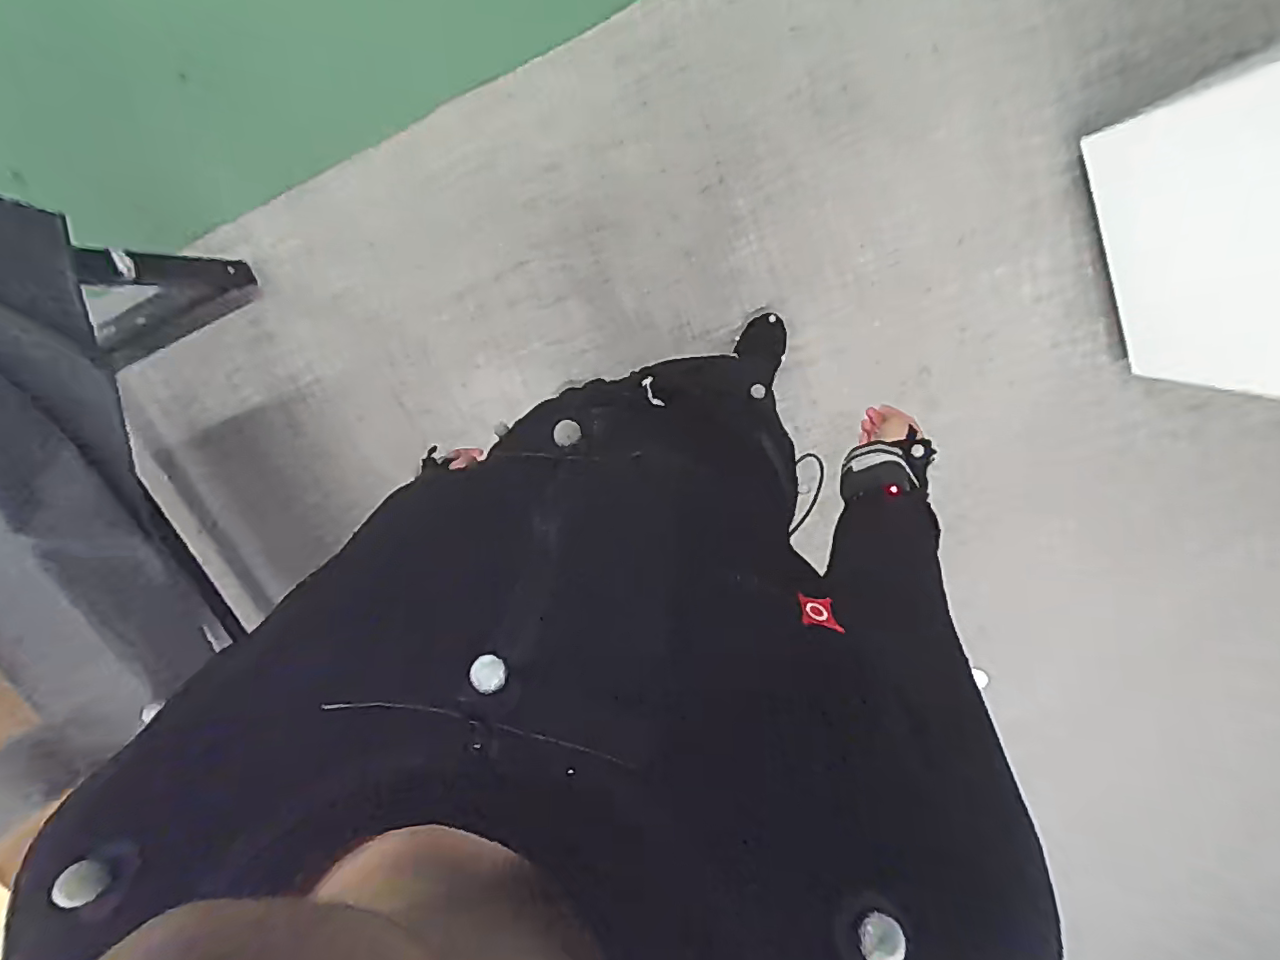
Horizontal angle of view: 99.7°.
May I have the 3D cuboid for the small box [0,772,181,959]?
[{"bbox_3d":[-0.839,0.573,0.786,0.179,0.176,0.168,-32,103,13],"label":"small box"}]
